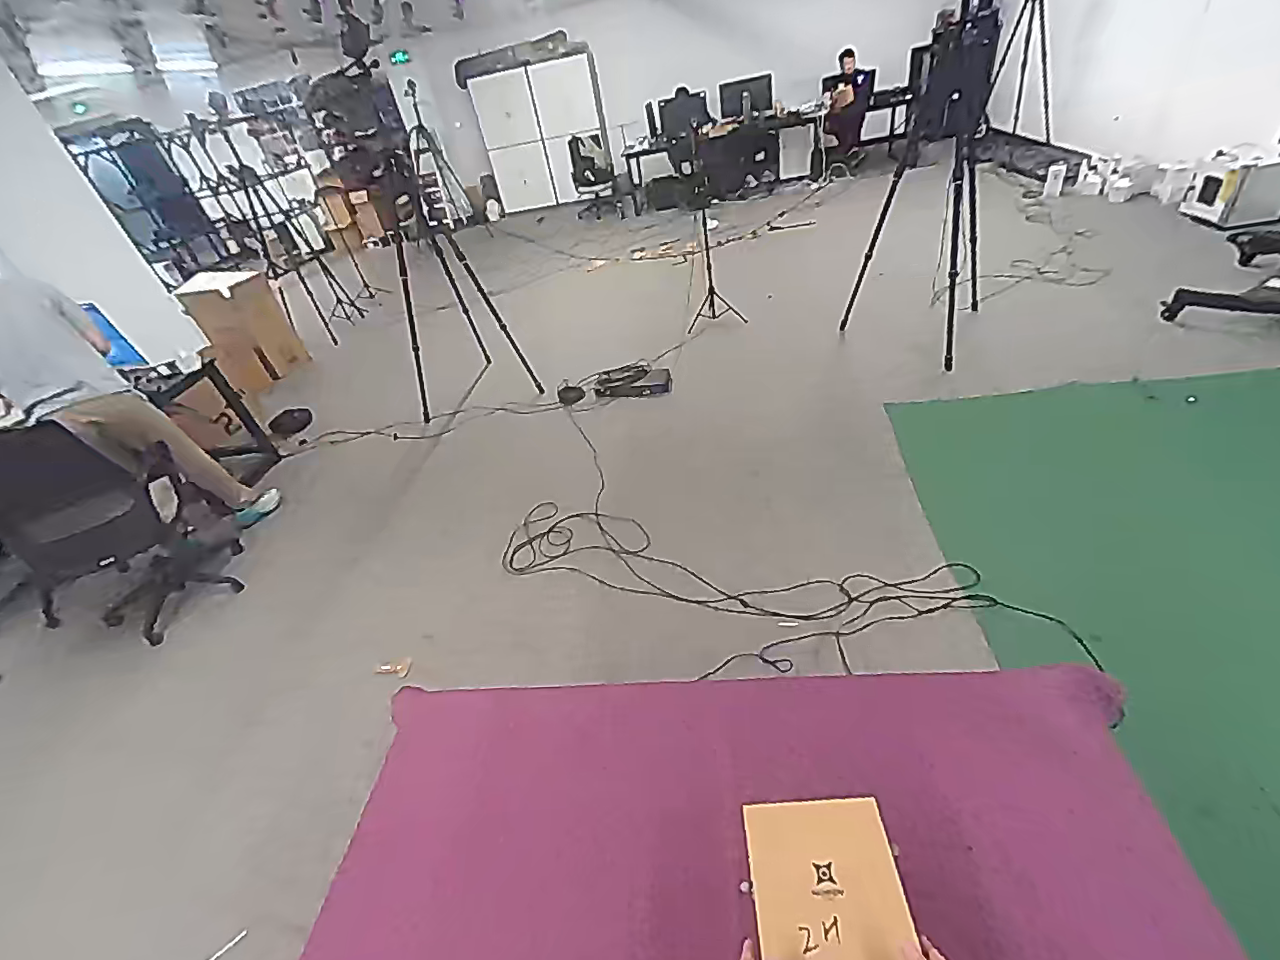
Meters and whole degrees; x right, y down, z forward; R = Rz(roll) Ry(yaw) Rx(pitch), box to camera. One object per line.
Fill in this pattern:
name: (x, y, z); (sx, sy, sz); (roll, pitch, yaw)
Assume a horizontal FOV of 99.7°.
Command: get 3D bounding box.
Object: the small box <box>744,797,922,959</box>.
small box: (0.222, 0.518, 0.660); (0.168, 0.176, 0.179); (-8, 37, 7)
